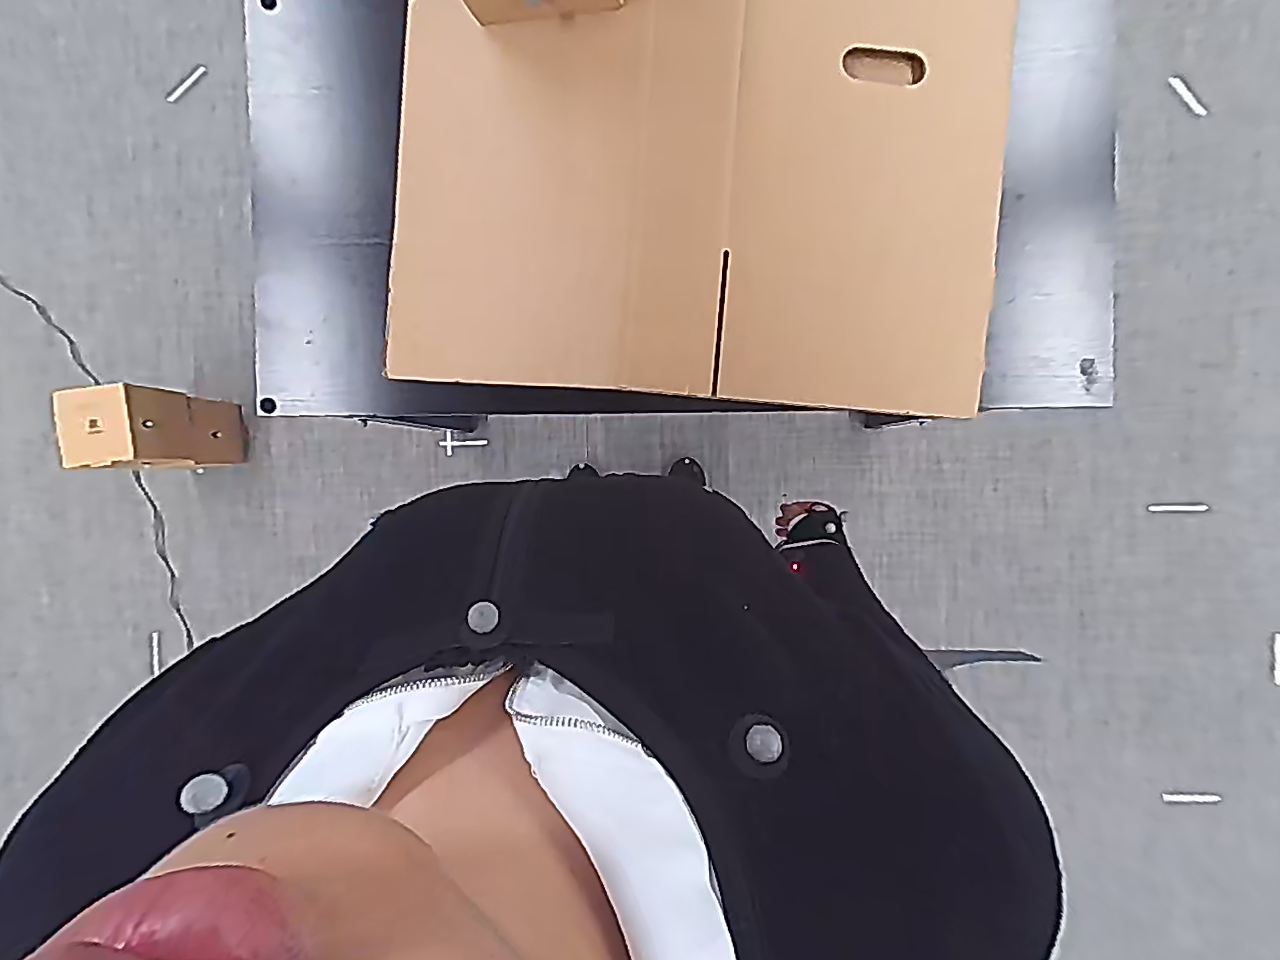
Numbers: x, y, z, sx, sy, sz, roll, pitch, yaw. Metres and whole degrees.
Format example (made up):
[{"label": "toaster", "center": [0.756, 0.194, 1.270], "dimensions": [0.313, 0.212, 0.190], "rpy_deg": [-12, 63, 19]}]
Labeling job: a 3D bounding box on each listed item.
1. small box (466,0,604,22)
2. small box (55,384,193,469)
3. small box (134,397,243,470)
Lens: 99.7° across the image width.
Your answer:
[{"label": "small box", "center": [-0.113, -0.594, 0.522], "dimensions": [0.179, 0.176, 0.168], "rpy_deg": [6, 91, 14]}, {"label": "small box", "center": [-1.211, -0.122, 1.284], "dimensions": [0.168, 0.176, 0.179], "rpy_deg": [-7, 91, 1]}, {"label": "small box", "center": [-1.207, -0.119, 1.447], "dimensions": [0.168, 0.176, 0.179], "rpy_deg": [-5, 92, 2]}]
